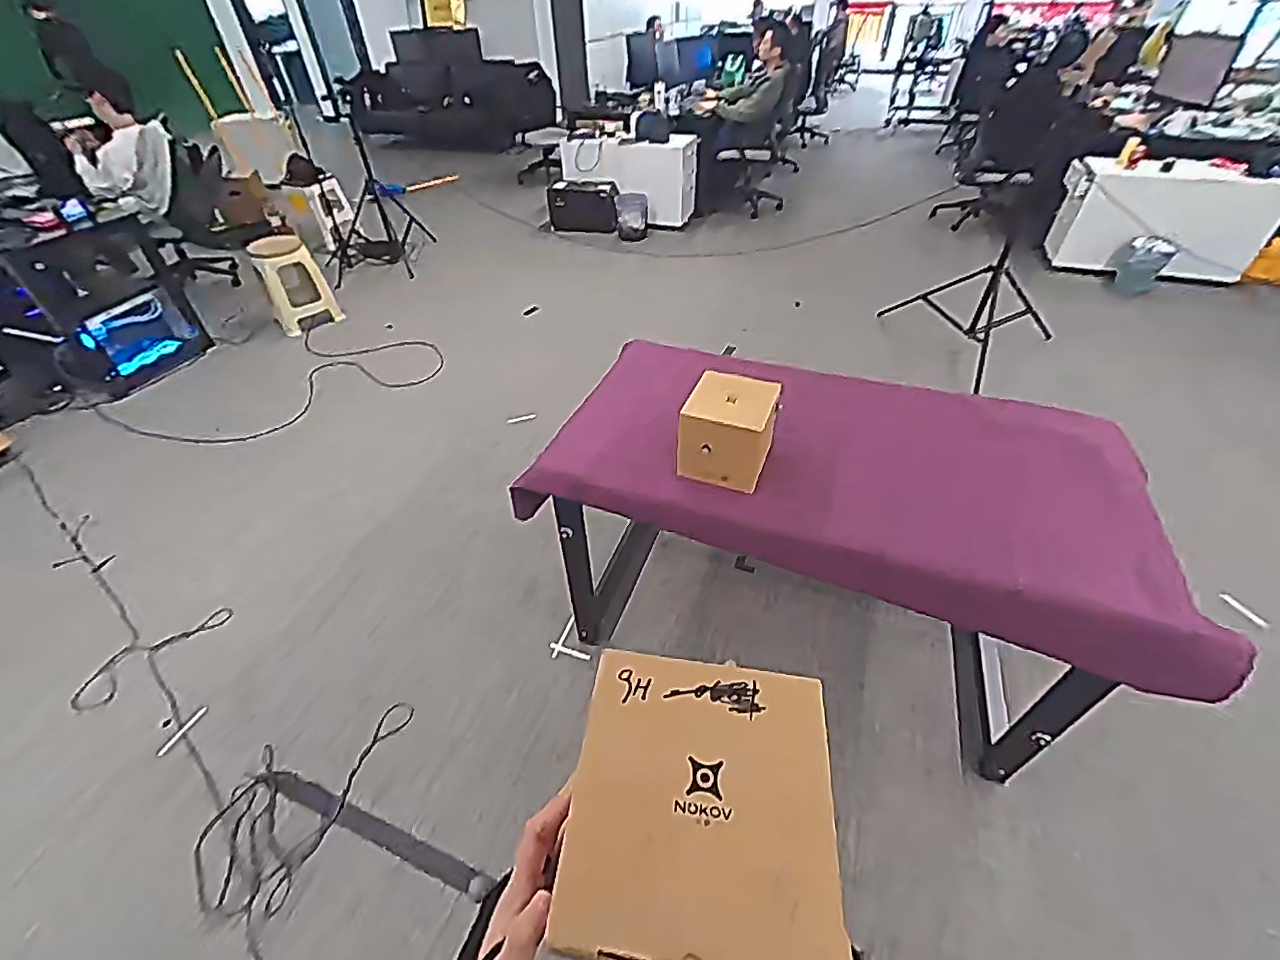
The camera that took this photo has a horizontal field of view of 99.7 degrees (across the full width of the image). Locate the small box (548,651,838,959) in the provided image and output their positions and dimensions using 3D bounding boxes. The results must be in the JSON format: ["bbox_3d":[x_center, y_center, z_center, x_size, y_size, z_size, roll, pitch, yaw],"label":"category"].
[{"bbox_3d":[0.040,0.257,0.410,0.168,0.176,0.179,7,47,5],"label":"small box"}]

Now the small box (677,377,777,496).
[{"bbox_3d":[0.183,-0.092,1.146,0.168,0.176,0.179,15,44,17],"label":"small box"}]
